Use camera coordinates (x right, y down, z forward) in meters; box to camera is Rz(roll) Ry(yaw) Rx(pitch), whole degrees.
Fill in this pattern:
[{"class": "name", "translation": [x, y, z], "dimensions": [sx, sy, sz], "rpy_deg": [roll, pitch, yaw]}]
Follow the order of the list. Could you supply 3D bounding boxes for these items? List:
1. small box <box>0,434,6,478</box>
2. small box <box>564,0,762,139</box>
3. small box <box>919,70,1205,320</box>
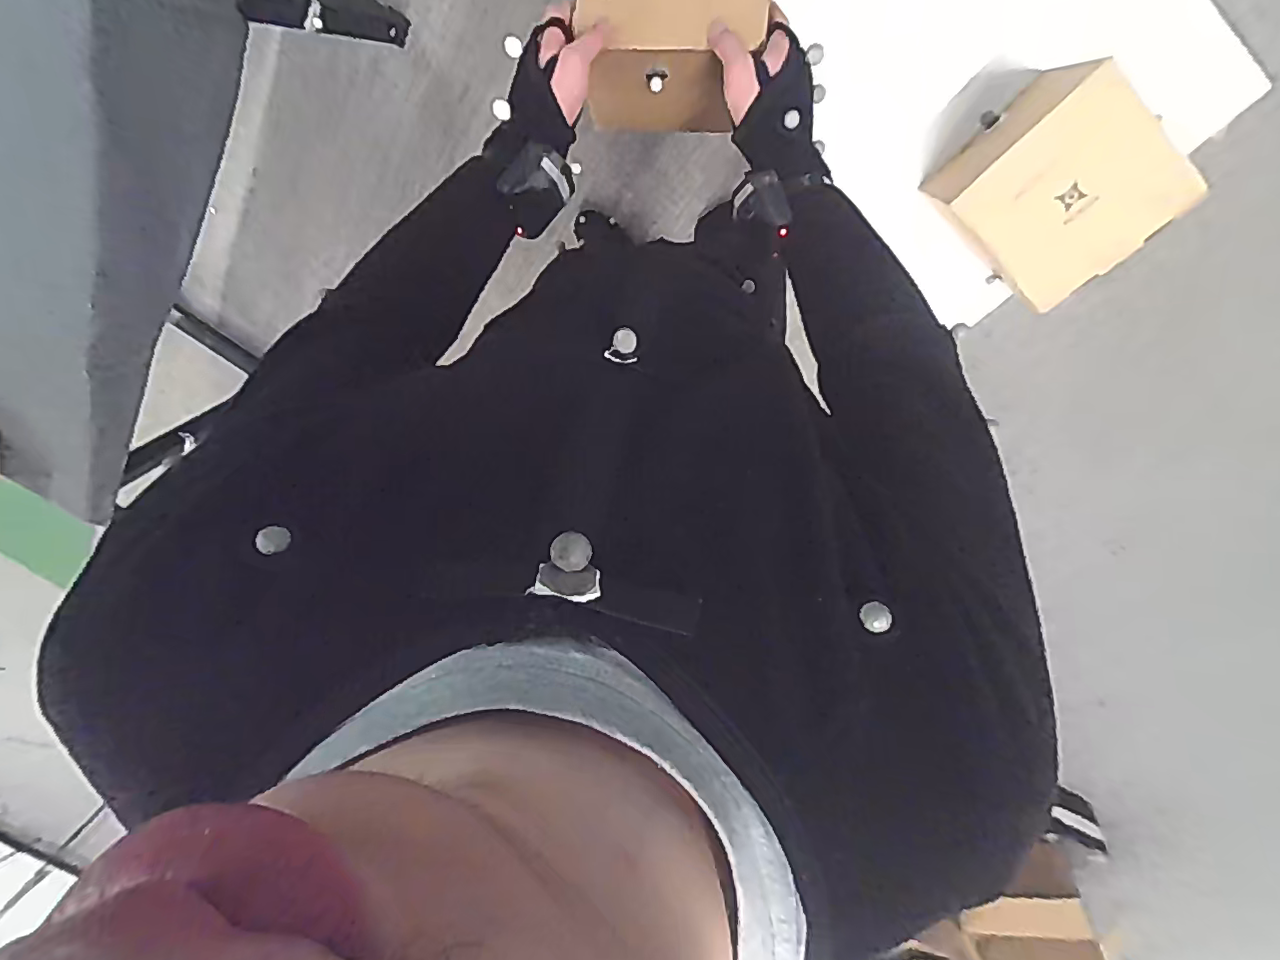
[{"class": "small box", "translation": [-1.515, -0.065, 1.145], "dimensions": [0.168, 0.176, 0.179], "rpy_deg": [38, 123, -11]}, {"class": "small box", "translation": [0.026, -0.469, 0.546], "dimensions": [0.179, 0.176, 0.168], "rpy_deg": [2, 101, 3]}, {"class": "small box", "translation": [0.457, -0.321, 0.618], "dimensions": [0.179, 0.176, 0.168], "rpy_deg": [39, 123, -11]}]
